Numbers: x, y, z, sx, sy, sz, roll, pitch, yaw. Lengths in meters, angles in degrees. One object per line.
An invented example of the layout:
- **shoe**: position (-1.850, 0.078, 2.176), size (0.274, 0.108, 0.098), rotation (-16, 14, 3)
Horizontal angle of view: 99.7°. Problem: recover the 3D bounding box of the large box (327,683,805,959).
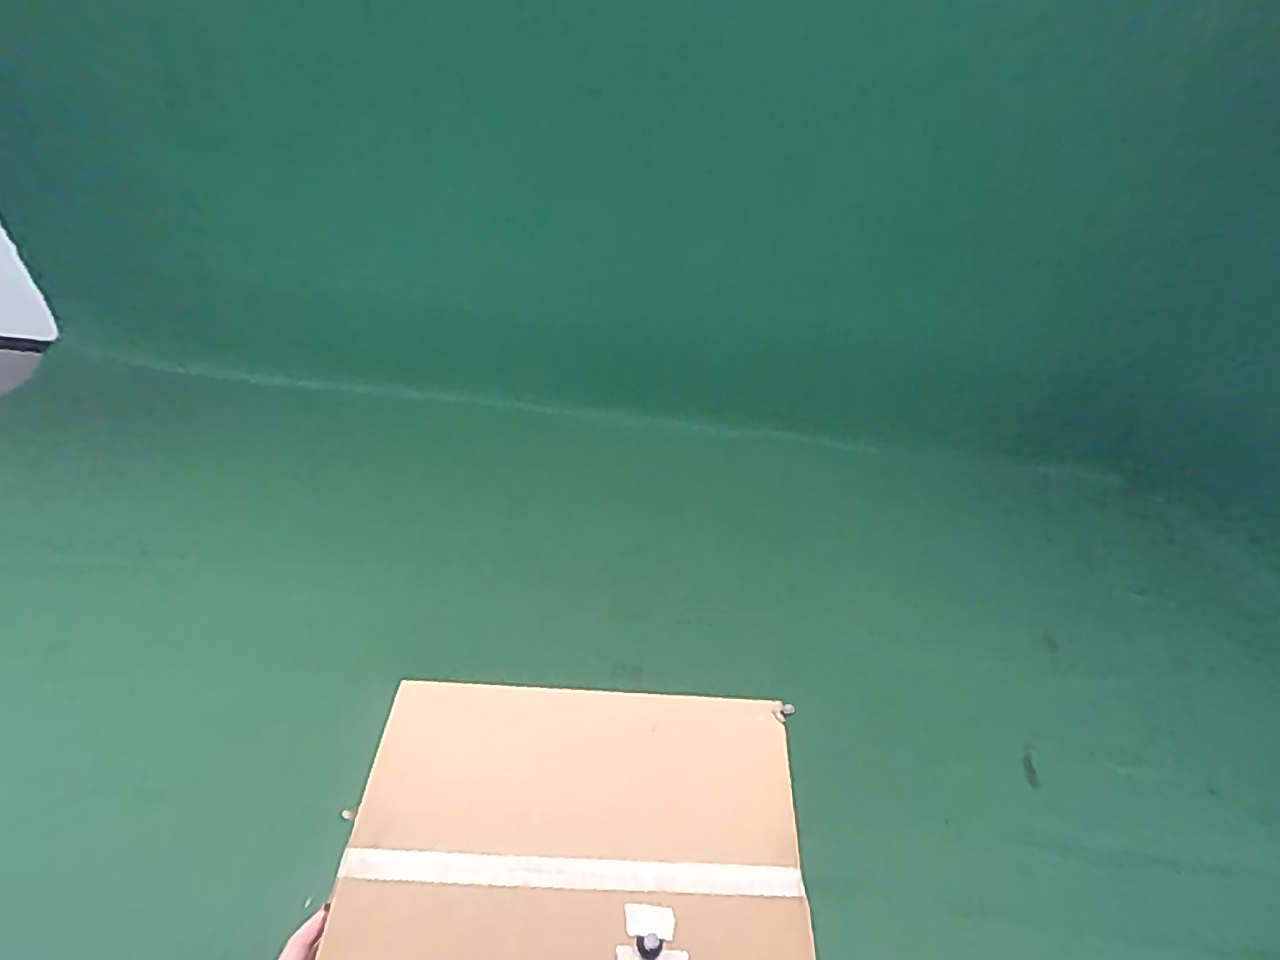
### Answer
- **large box**: position (-0.067, 0.440, 0.604), size (0.408, 0.320, 0.320), rotation (4, 52, -2)
